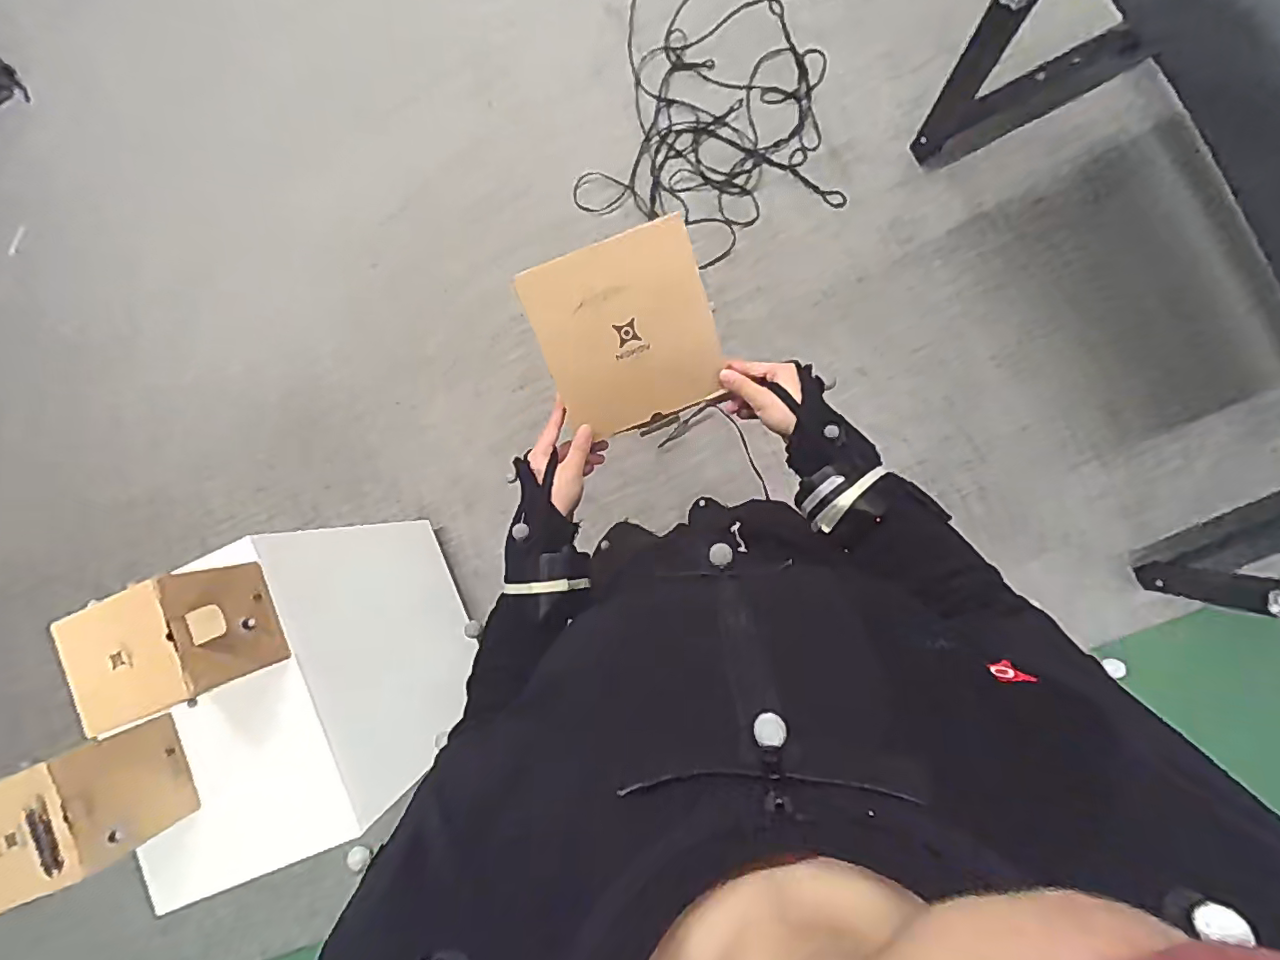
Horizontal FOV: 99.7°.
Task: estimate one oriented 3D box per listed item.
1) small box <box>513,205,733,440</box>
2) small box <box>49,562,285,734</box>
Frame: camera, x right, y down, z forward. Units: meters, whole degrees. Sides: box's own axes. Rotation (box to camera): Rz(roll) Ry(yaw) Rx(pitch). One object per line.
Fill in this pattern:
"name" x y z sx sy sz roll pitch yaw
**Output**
"small box" -0.016 -0.168 0.582 0.168 0.176 0.179 -20 109 2
"small box" -0.671 0.232 0.785 0.179 0.176 0.168 -24 86 7
